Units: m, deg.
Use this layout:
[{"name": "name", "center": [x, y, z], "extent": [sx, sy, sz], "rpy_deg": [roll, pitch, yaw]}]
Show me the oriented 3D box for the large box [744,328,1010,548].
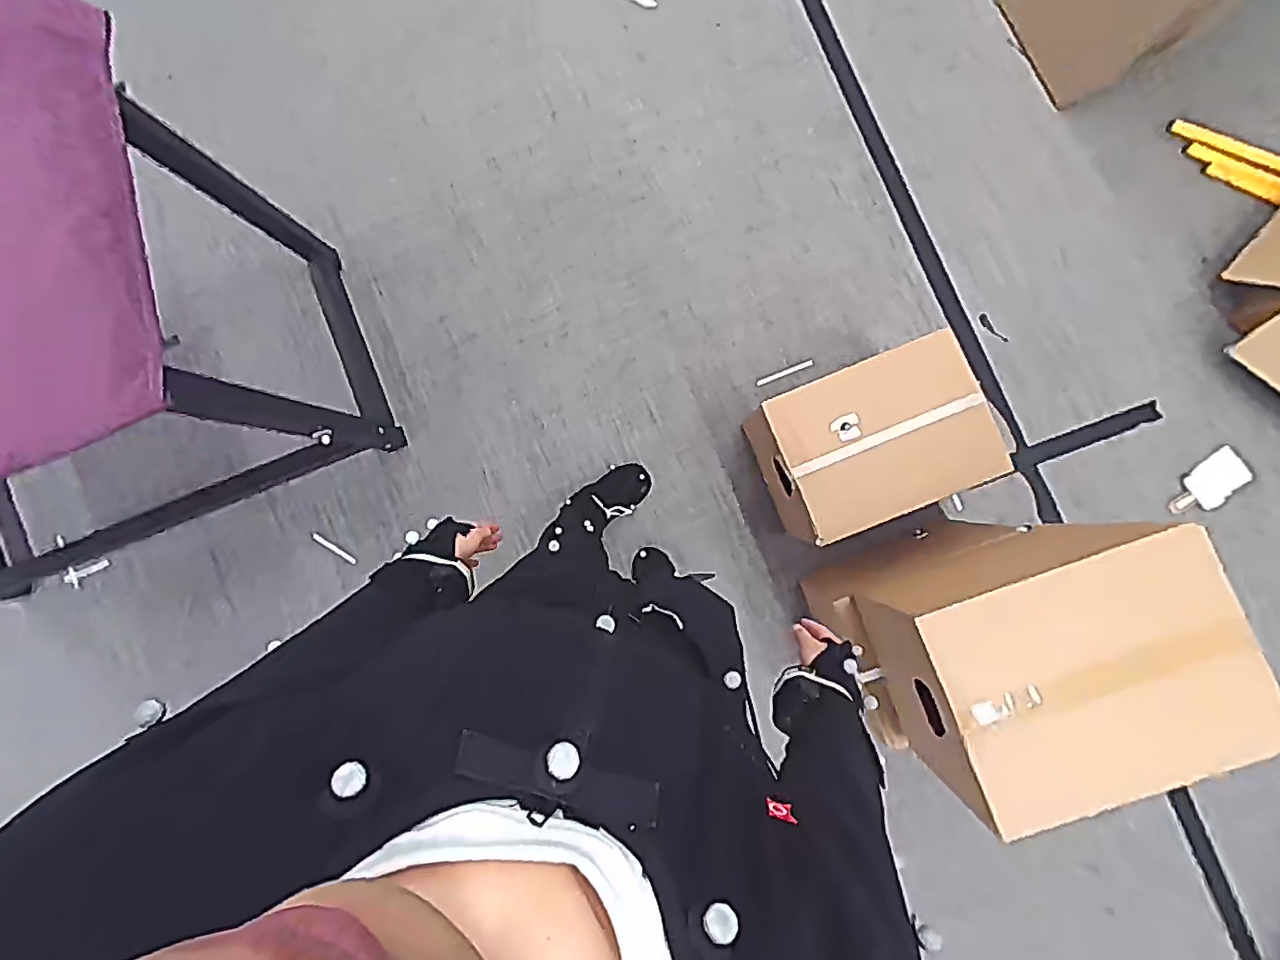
[{"name": "large box", "center": [0.492, -0.081, 1.210], "extent": [0.408, 0.320, 0.320], "rpy_deg": [-23, 86, 3]}]
